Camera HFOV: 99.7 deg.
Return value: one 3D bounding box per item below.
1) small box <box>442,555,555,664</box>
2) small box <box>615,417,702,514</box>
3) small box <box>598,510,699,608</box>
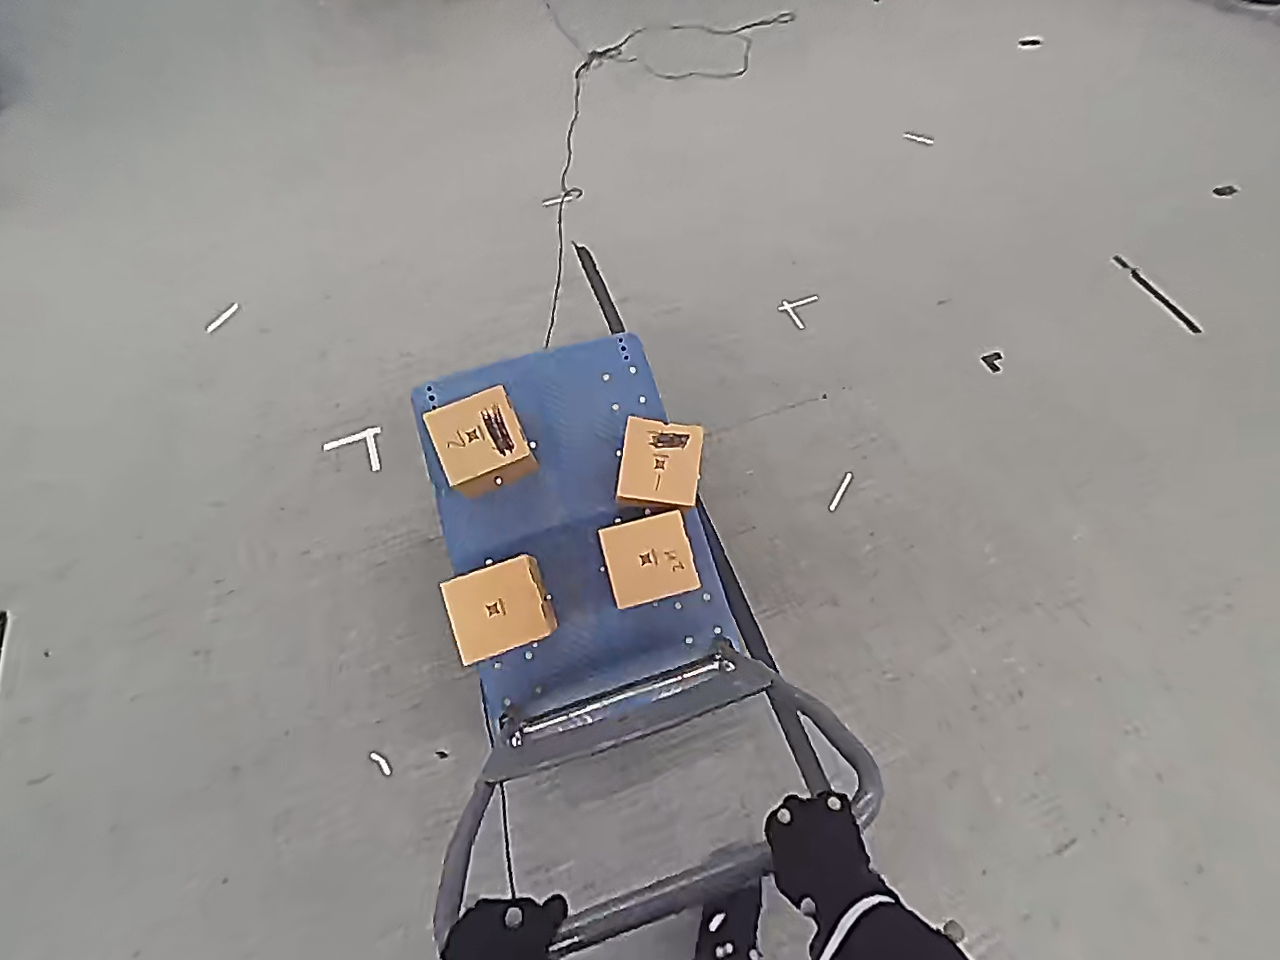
[{"bbox_3d":[-0.287,0.269,1.130,0.179,0.176,0.168,-19,81,-9],"label":"small box"},{"bbox_3d":[0.037,-0.025,1.209,0.168,0.176,0.179,8,79,-2],"label":"small box"},{"bbox_3d":[0.013,0.174,1.169,0.179,0.176,0.168,-14,81,-6],"label":"small box"}]
